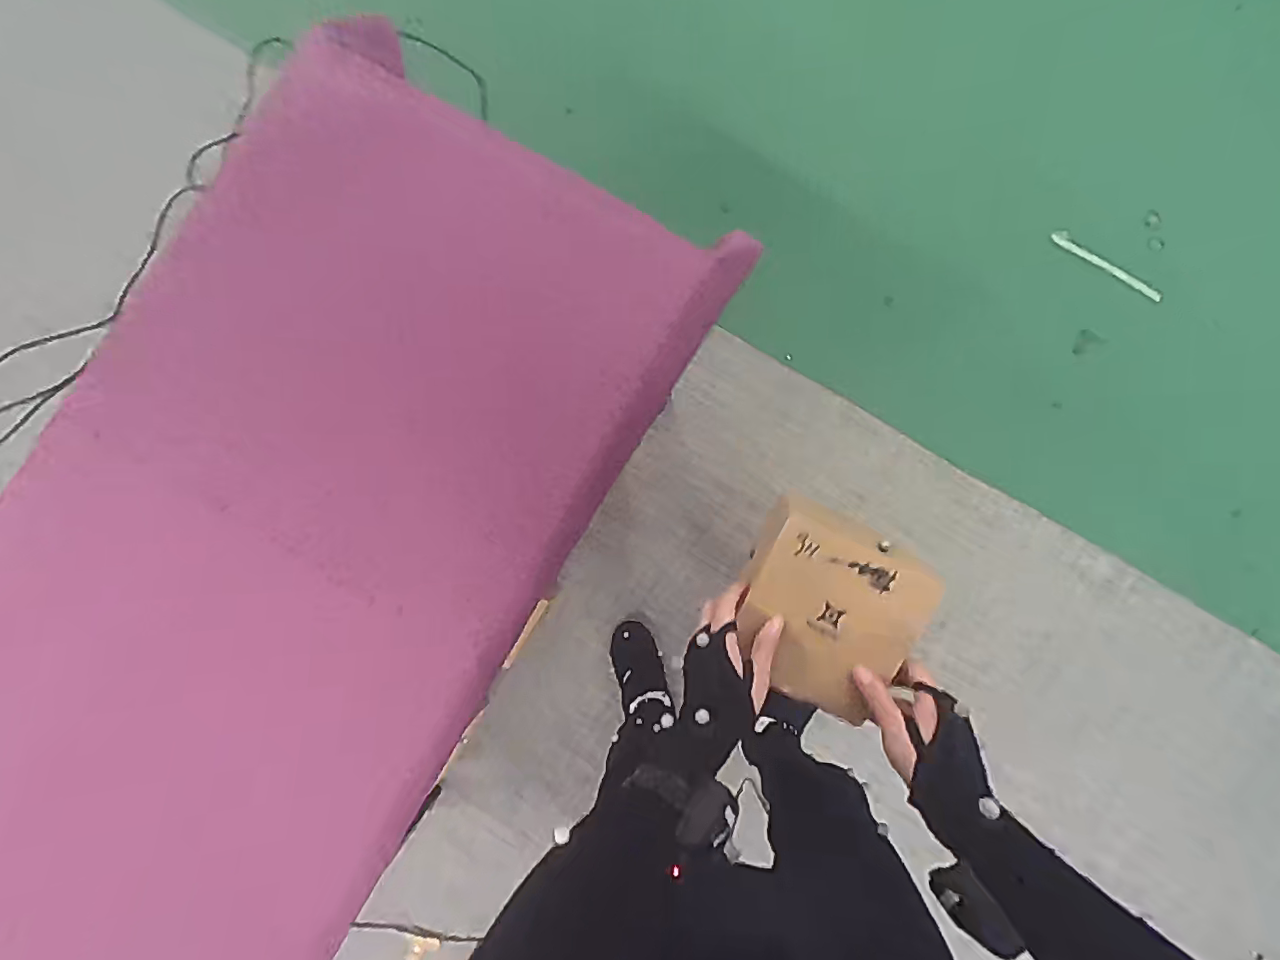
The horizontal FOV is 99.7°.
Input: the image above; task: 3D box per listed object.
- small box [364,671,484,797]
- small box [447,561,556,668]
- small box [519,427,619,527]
[{"bbox_3d":[-0.488,0.578,1.254,0.168,0.176,0.179,30,86,3],"label":"small box"},{"bbox_3d":[-0.313,0.304,1.270,0.168,0.176,0.179,31,88,4],"label":"small box"},{"bbox_3d":[-0.159,-0.001,1.288,0.168,0.176,0.179,27,87,3],"label":"small box"}]
